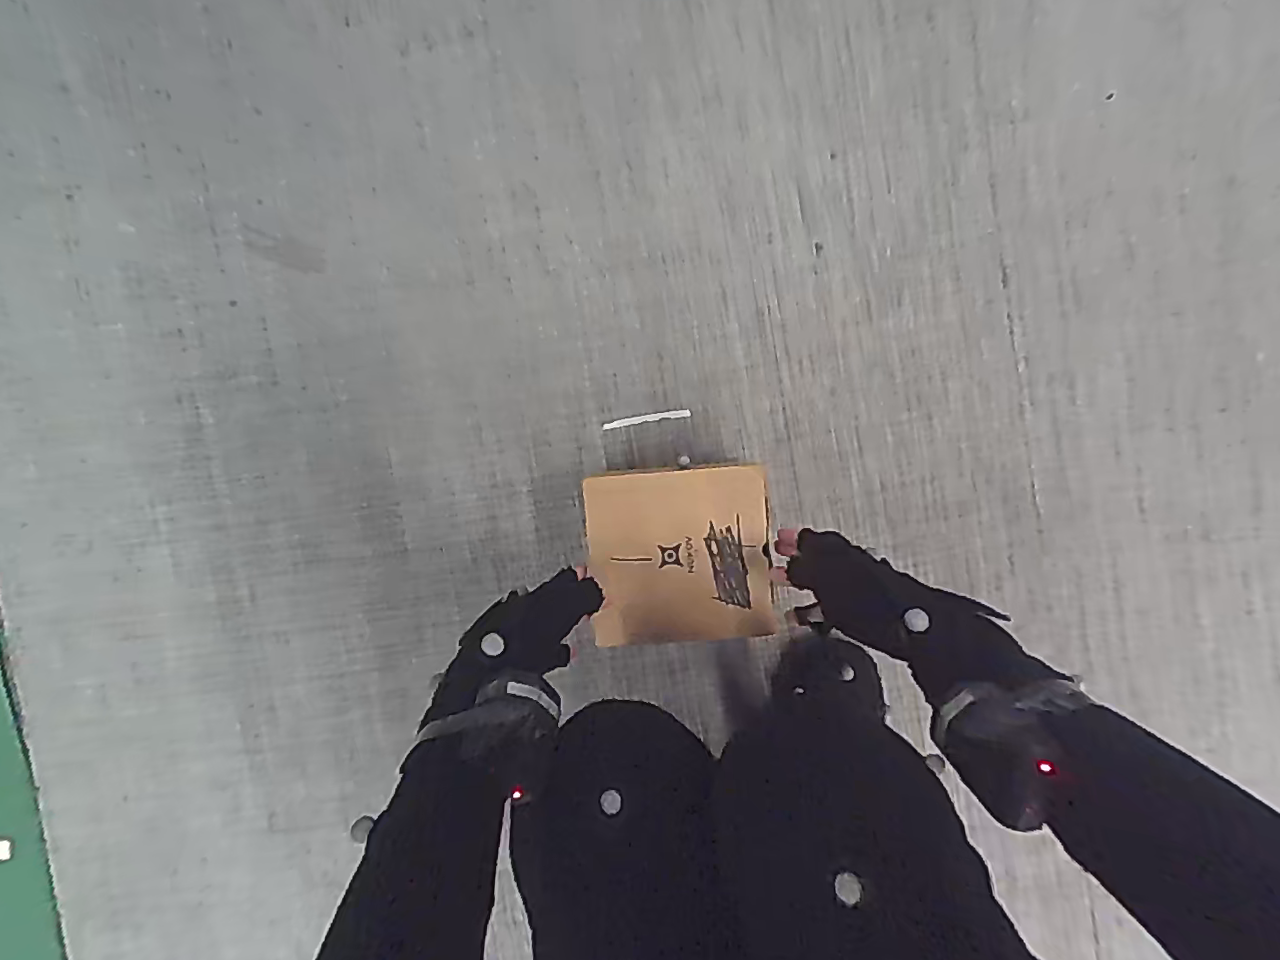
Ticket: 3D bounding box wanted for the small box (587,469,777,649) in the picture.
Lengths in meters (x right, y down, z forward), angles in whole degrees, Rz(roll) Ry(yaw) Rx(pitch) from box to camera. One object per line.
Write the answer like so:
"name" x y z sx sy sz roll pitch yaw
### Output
"small box" 0.044 0.075 0.599 0.179 0.176 0.168 -4 92 4
